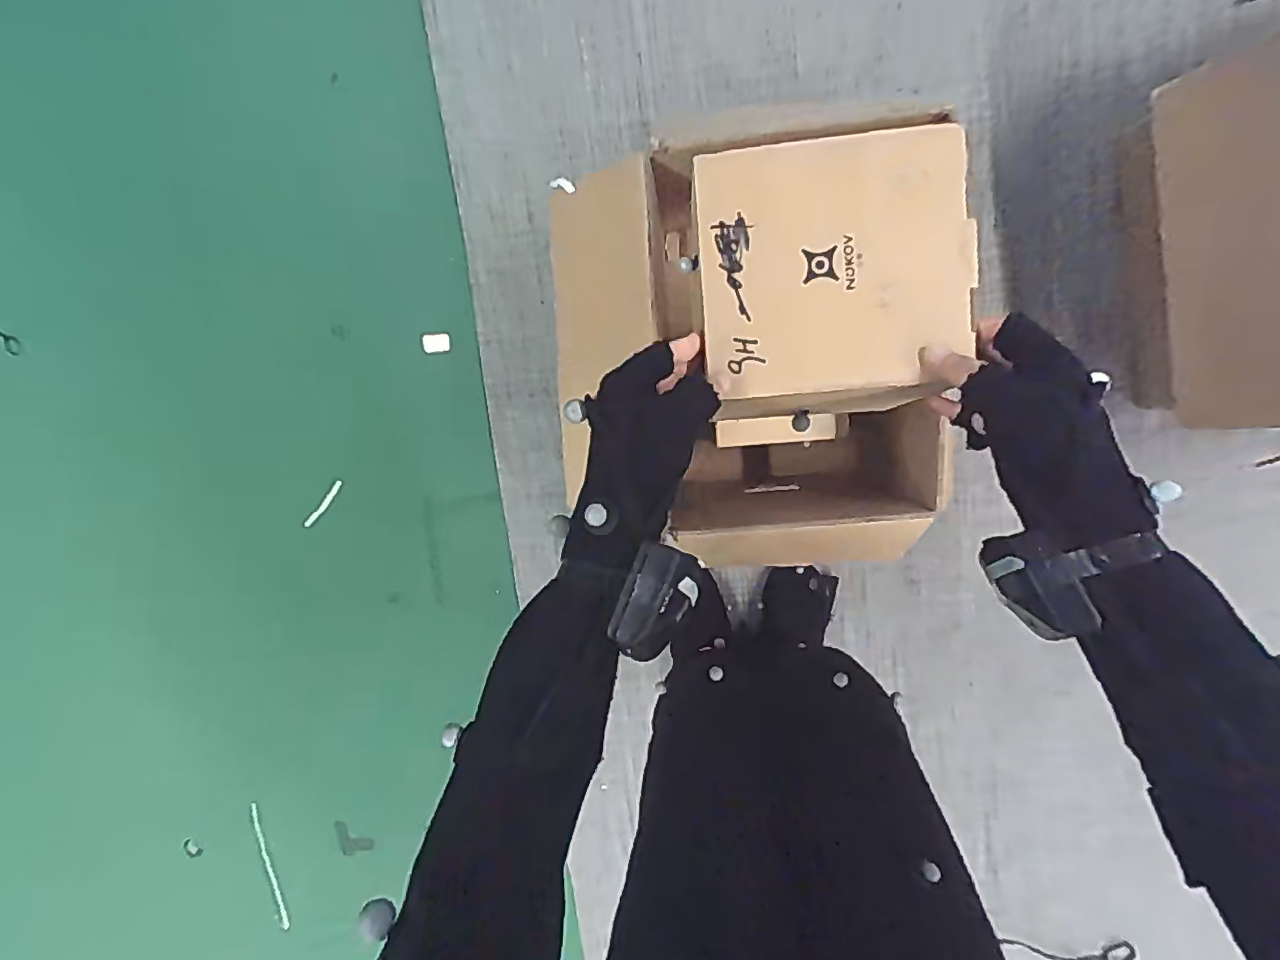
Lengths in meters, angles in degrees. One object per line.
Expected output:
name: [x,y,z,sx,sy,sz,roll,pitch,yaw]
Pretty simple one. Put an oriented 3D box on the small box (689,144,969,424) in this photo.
small box: [0.134,-0.138,0.443,0.179,0.176,0.168,-3,90,4]
